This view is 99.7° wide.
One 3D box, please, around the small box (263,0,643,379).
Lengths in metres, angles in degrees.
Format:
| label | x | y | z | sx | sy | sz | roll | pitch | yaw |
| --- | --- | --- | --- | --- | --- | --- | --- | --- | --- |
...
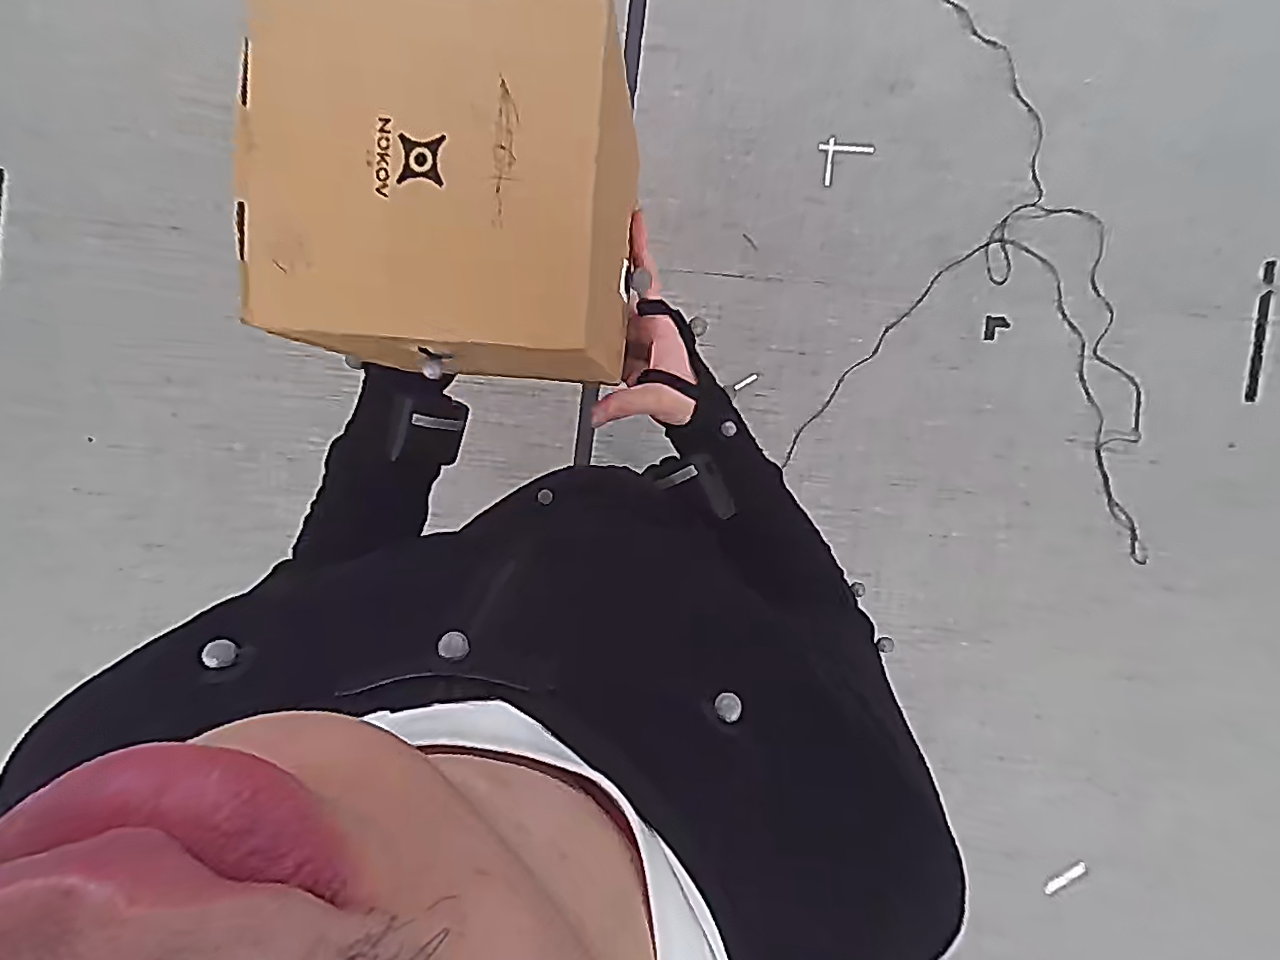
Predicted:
| label | x | y | z | sx | sy | sz | roll | pitch | yaw |
| --- | --- | --- | --- | --- | --- | --- | --- | --- | --- |
| small box | -0.096 | -0.158 | 0.346 | 0.179 | 0.176 | 0.168 | 4 | 95 | 4 |
